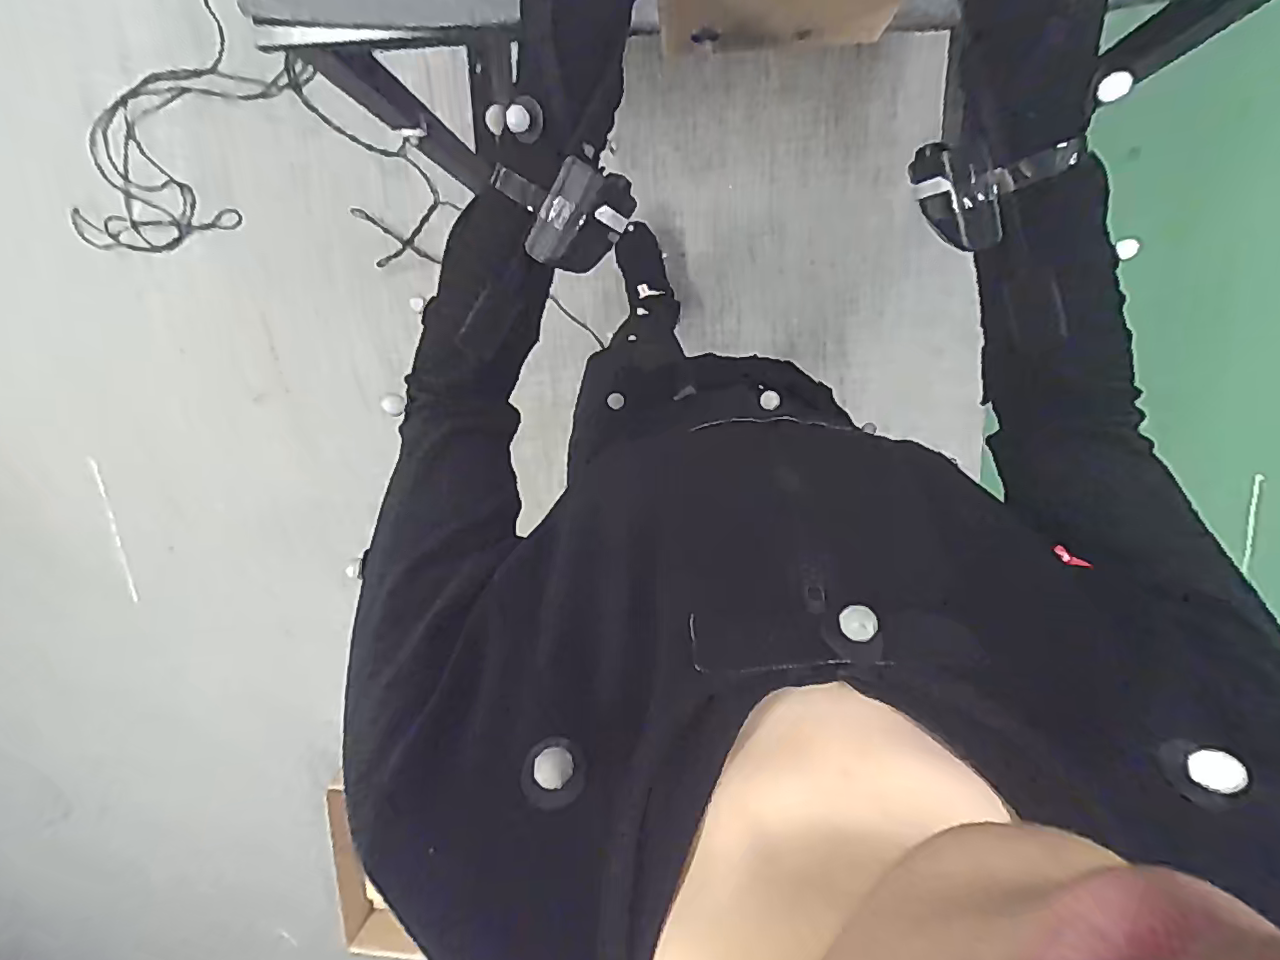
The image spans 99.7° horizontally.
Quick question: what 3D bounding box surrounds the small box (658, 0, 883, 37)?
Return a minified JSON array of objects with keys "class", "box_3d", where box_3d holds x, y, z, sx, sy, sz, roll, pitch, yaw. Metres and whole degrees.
[{"class":"small box","box_3d":[0.088,-0.403,0.322,0.168,0.176,0.179,1,105,6]}]
